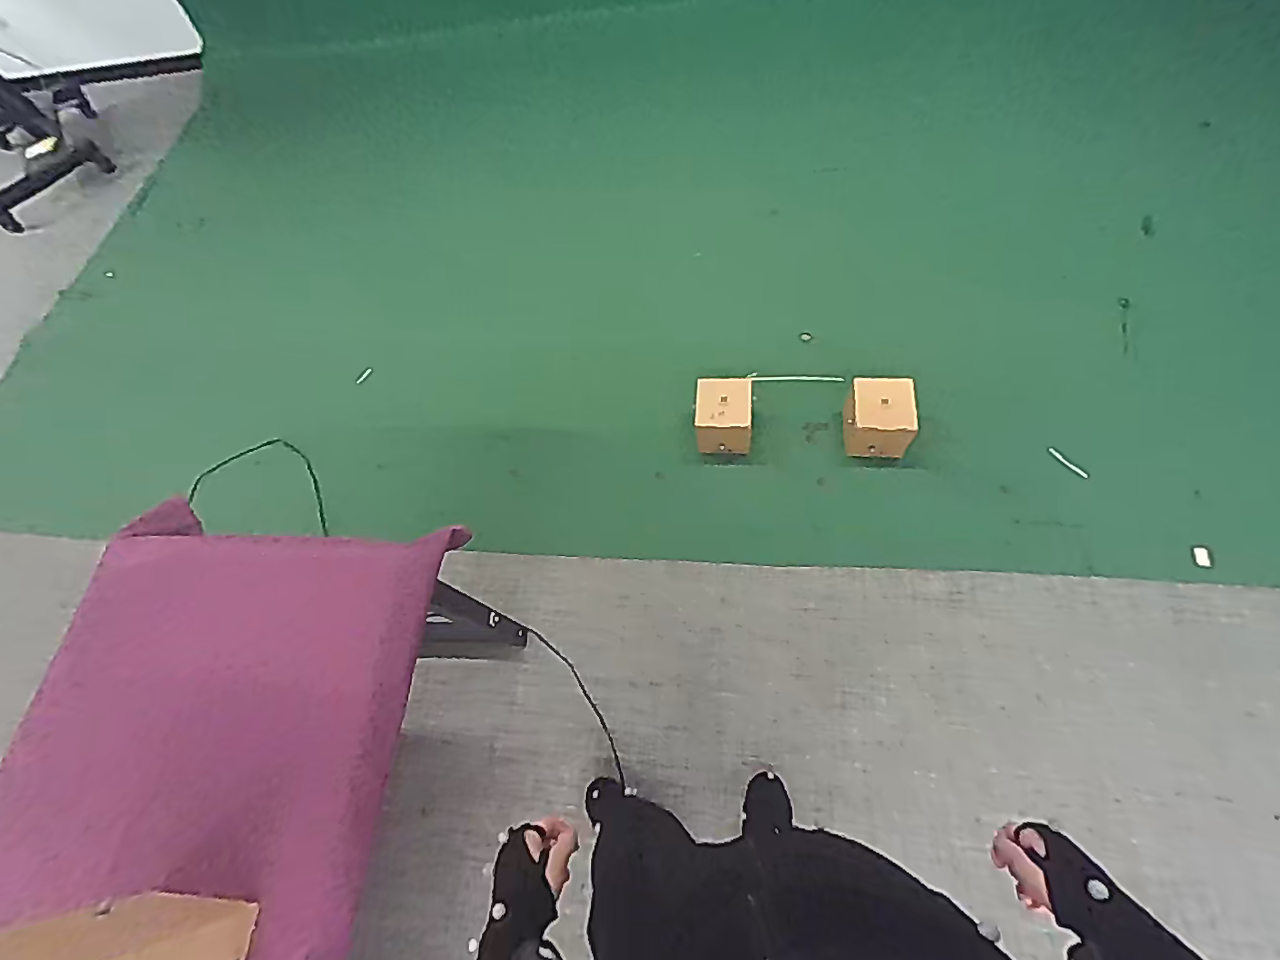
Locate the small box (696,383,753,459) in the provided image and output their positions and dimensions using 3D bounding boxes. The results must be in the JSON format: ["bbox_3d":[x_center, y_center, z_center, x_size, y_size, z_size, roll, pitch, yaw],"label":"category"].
[{"bbox_3d":[0.266,-0.185,1.704,0.168,0.176,0.179,2,64,10],"label":"small box"}]

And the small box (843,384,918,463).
[{"bbox_3d":[0.717,-0.170,1.631,0.168,0.176,0.179,3,65,9],"label":"small box"}]
